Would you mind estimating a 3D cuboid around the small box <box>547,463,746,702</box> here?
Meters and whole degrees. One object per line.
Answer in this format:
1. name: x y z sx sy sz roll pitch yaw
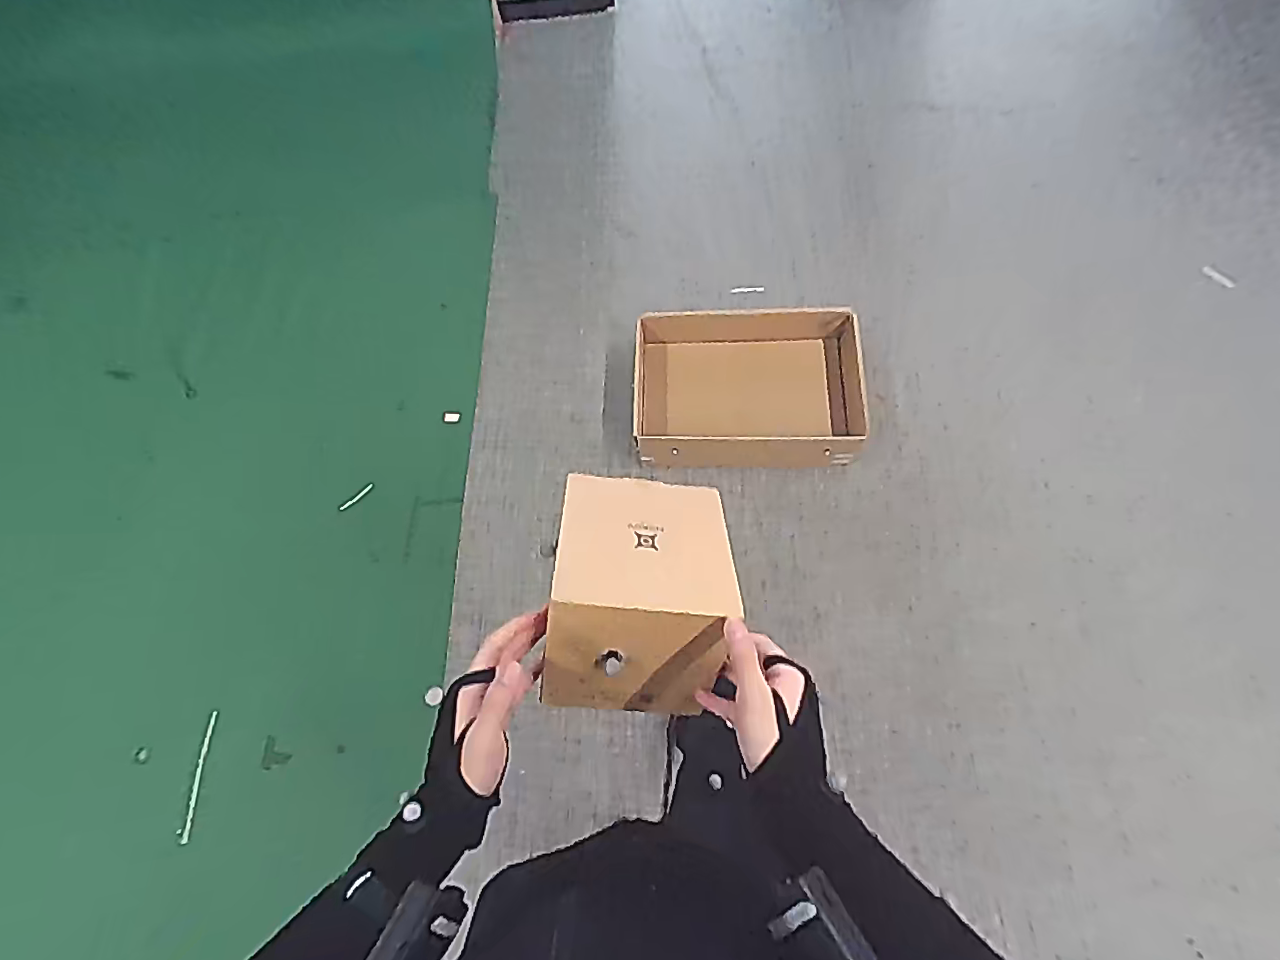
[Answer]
1. small box: -0.003 0.106 0.557 0.168 0.176 0.179 6 37 -7
